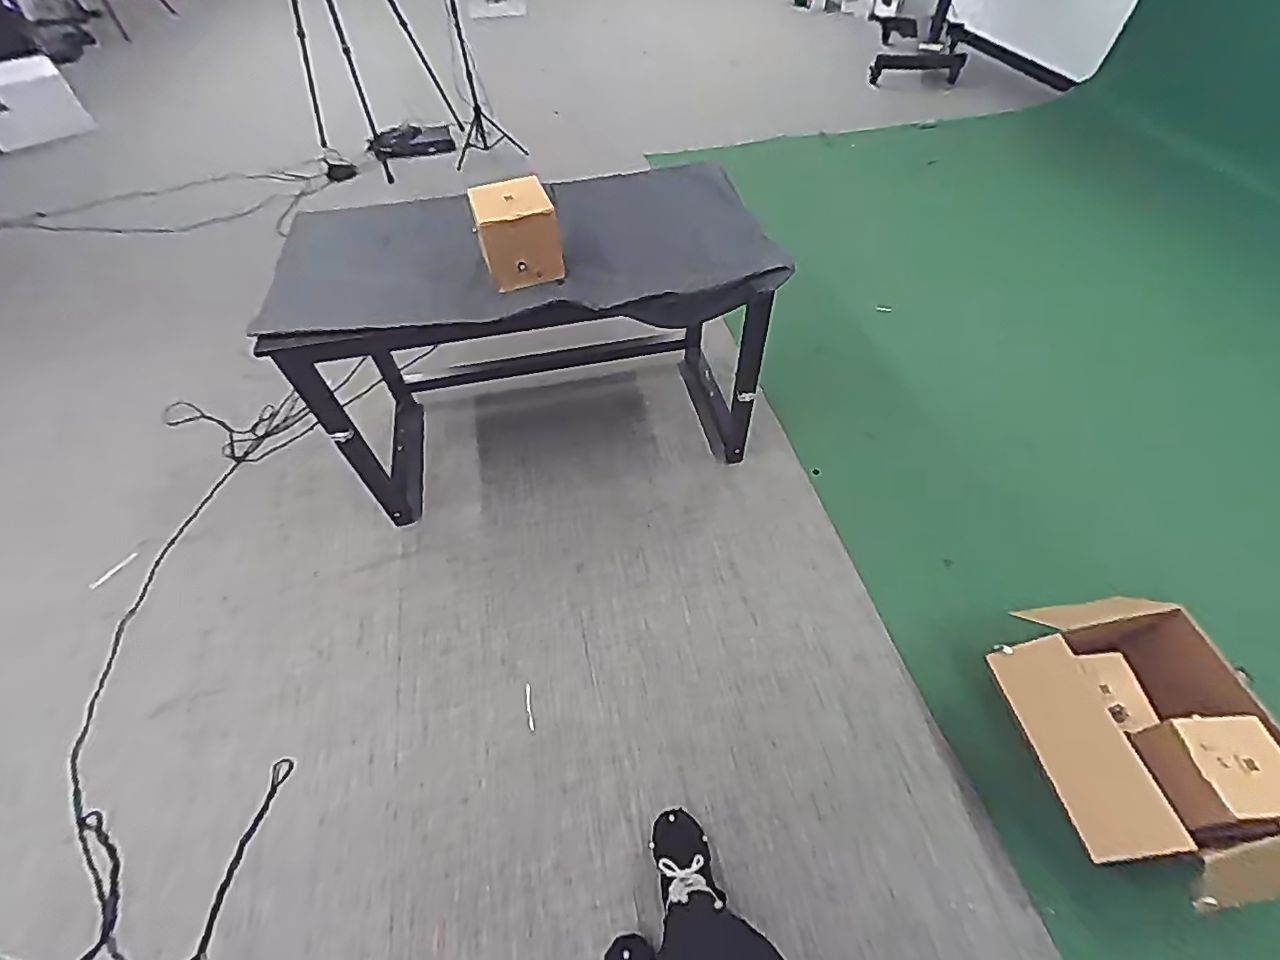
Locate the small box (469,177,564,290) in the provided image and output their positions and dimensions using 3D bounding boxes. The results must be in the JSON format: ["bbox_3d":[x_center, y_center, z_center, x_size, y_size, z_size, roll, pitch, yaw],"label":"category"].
[{"bbox_3d":[-0.285,-0.571,1.257,0.168,0.176,0.179,-17,55,-11],"label":"small box"}]
